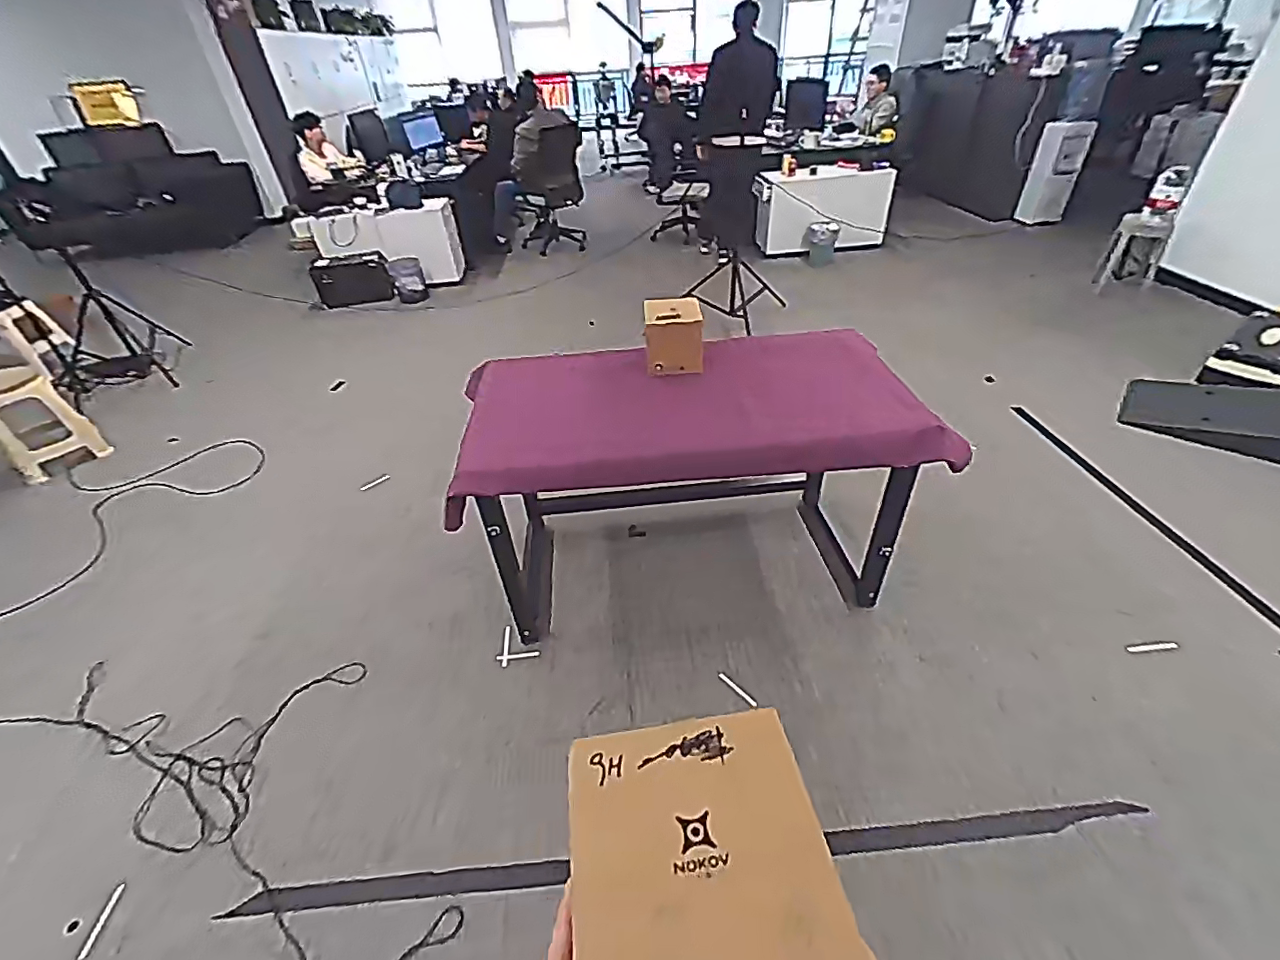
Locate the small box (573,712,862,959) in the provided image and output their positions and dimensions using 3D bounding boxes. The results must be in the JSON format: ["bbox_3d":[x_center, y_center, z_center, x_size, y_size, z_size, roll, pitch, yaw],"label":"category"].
[{"bbox_3d":[0.045,0.307,0.398,0.168,0.176,0.179,-8,35,-3],"label":"small box"}]

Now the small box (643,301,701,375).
[{"bbox_3d":[0.098,-0.429,1.651,0.168,0.176,0.179,-3,39,1],"label":"small box"}]
